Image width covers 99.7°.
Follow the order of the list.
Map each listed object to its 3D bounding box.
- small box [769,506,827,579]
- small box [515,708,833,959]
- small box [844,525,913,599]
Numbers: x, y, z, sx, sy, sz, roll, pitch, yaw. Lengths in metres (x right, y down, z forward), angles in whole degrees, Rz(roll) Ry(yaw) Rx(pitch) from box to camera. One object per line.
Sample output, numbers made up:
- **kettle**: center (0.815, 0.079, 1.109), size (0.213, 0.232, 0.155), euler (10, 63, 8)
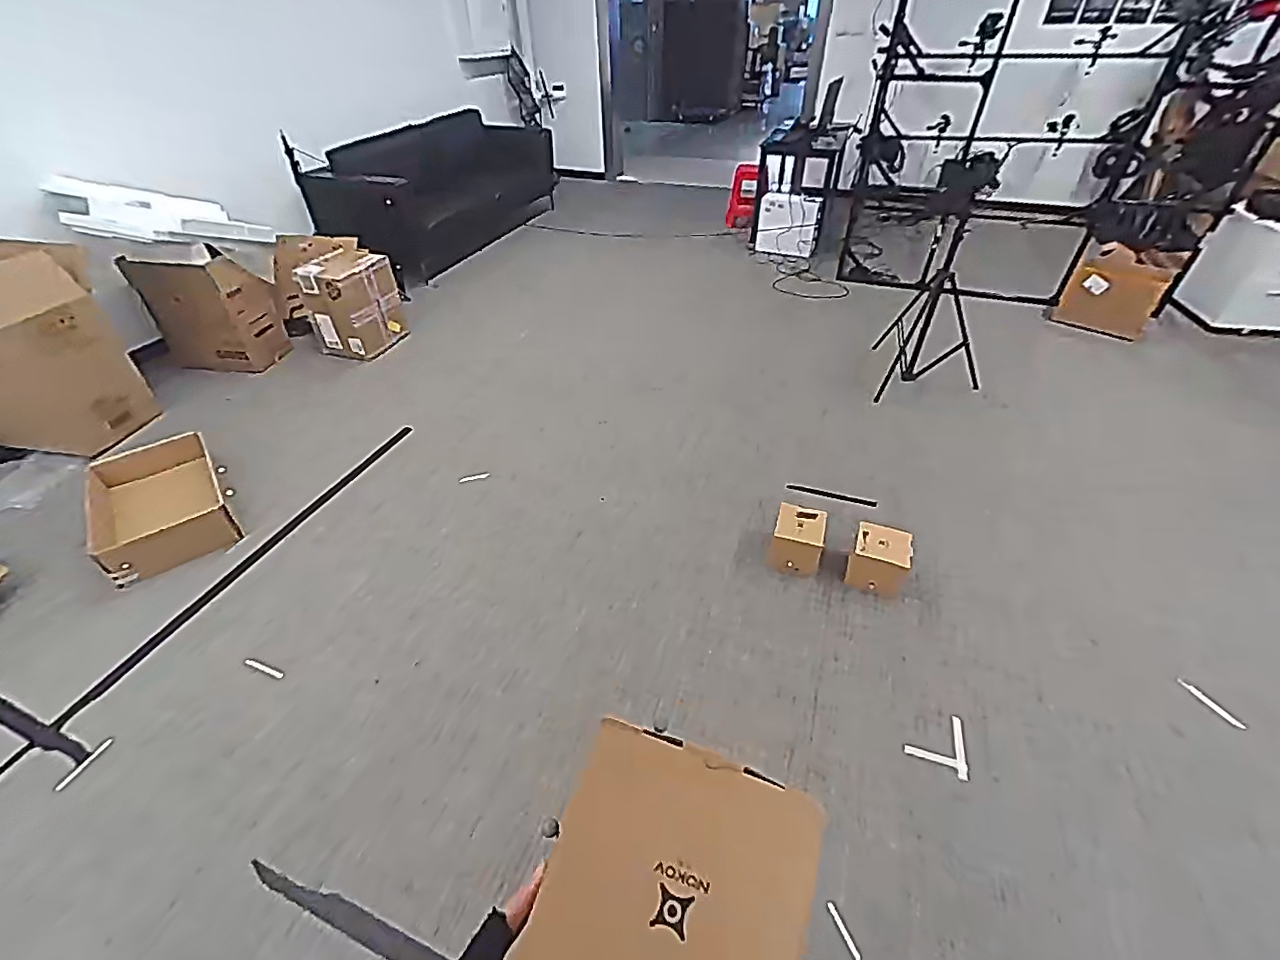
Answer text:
- **small box**: center (0.572, 0.227, 1.961), size (0.168, 0.176, 0.179), euler (12, 43, 16)
- **small box**: center (0.021, 0.293, 0.406), size (0.168, 0.176, 0.179), euler (20, 65, 7)
- **small box**: center (0.830, 0.289, 1.886), size (0.179, 0.176, 0.168), euler (16, 44, 17)
